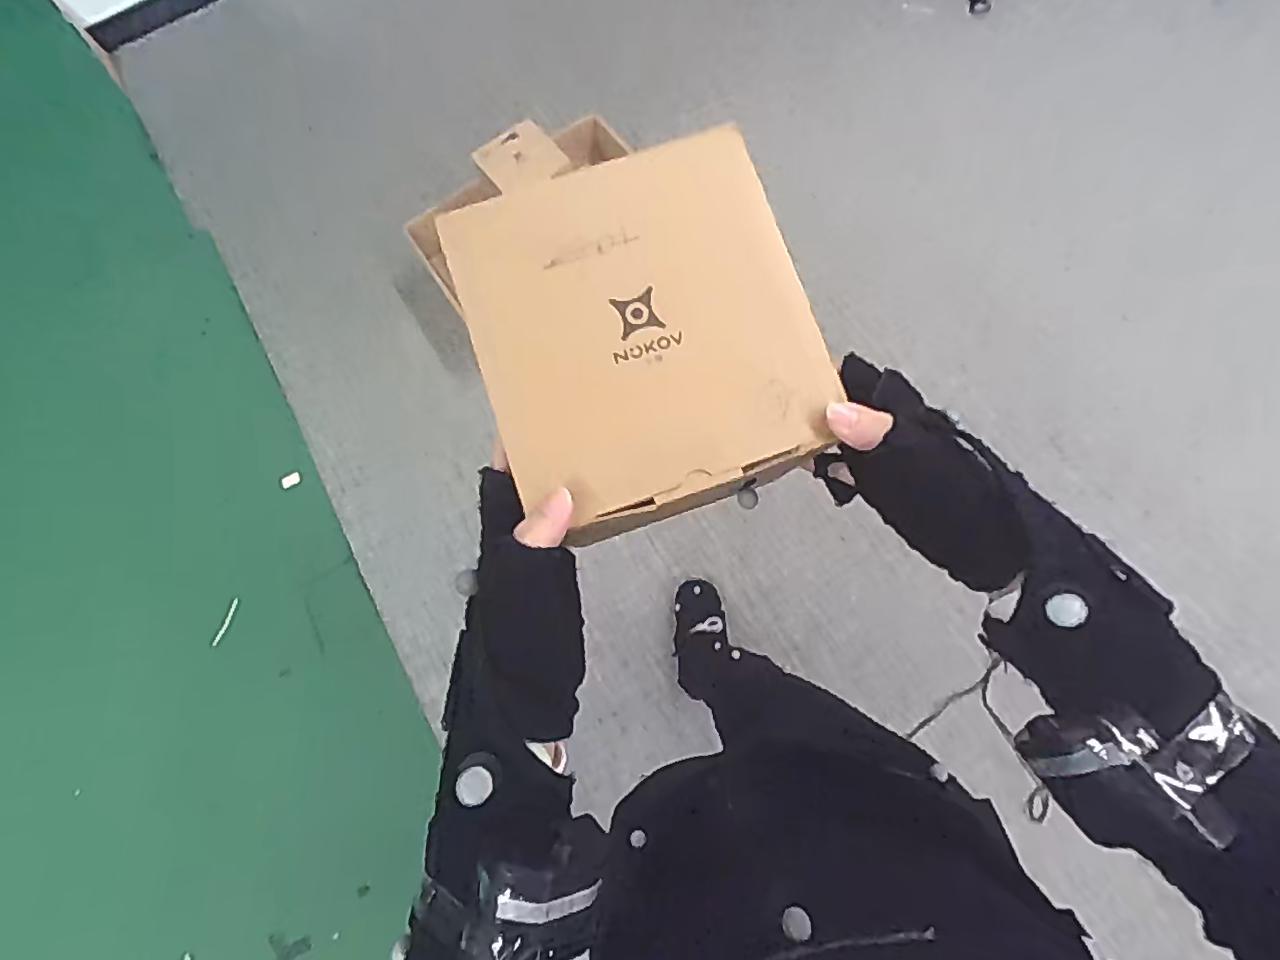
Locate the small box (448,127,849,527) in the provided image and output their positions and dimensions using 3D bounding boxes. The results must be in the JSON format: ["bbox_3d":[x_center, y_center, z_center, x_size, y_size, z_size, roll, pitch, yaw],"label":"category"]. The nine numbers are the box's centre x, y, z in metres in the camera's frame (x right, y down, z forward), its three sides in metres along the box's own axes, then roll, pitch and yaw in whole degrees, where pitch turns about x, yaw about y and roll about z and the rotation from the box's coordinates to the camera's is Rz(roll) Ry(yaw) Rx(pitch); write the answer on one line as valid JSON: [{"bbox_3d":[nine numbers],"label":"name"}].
[{"bbox_3d":[0.002,-0.073,0.354,0.168,0.176,0.179,-19,81,-3],"label":"small box"}]

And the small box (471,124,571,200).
[{"bbox_3d":[-0.261,-0.680,1.281,0.168,0.176,0.179,-36,75,-7],"label":"small box"}]
